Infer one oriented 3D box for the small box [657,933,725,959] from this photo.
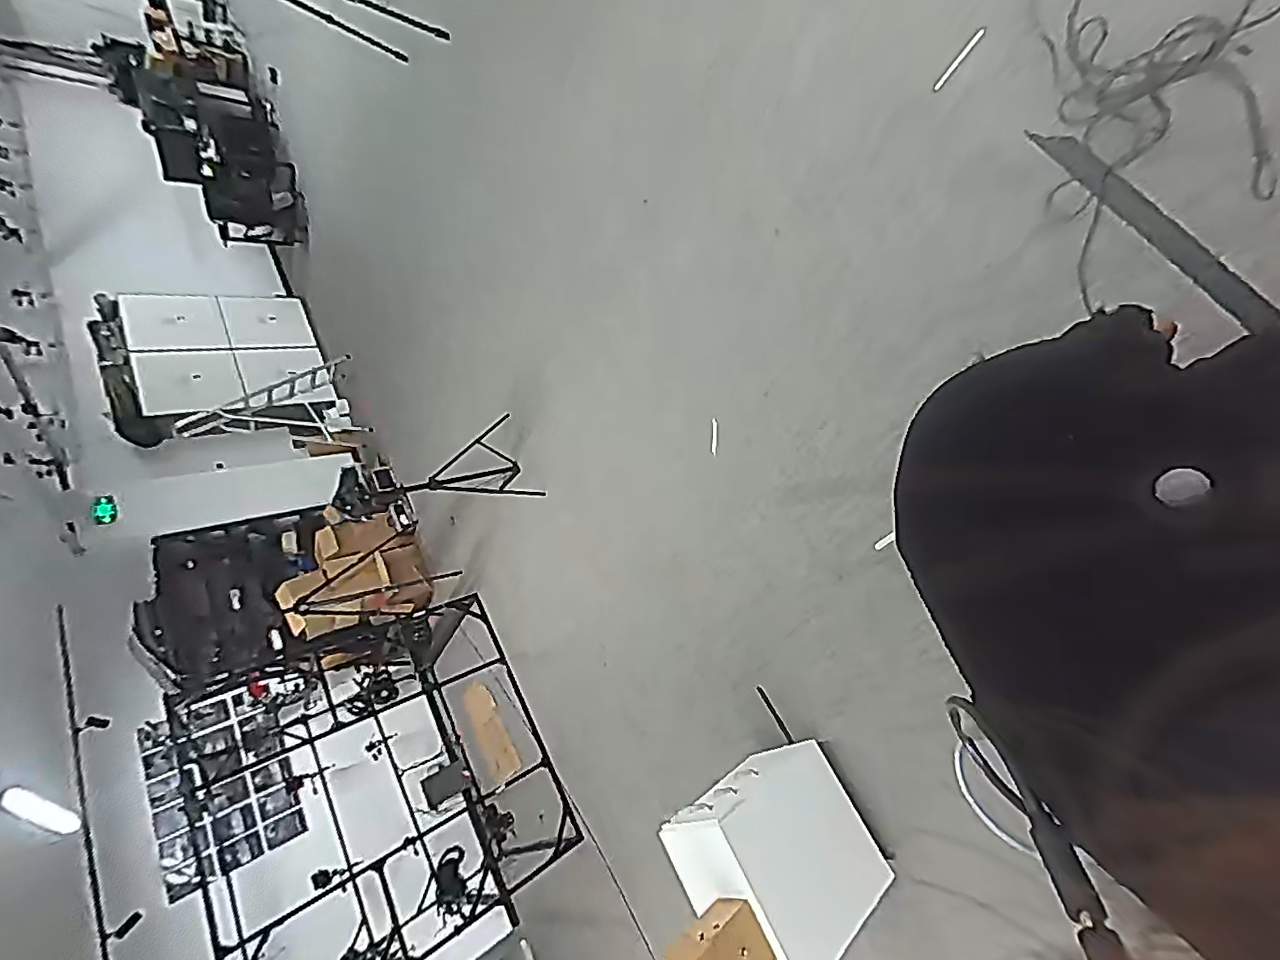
[{"bbox_3d":[0.155,1.460,1.561,0.179,0.176,0.168,-46,67,47],"label":"small box"}]
